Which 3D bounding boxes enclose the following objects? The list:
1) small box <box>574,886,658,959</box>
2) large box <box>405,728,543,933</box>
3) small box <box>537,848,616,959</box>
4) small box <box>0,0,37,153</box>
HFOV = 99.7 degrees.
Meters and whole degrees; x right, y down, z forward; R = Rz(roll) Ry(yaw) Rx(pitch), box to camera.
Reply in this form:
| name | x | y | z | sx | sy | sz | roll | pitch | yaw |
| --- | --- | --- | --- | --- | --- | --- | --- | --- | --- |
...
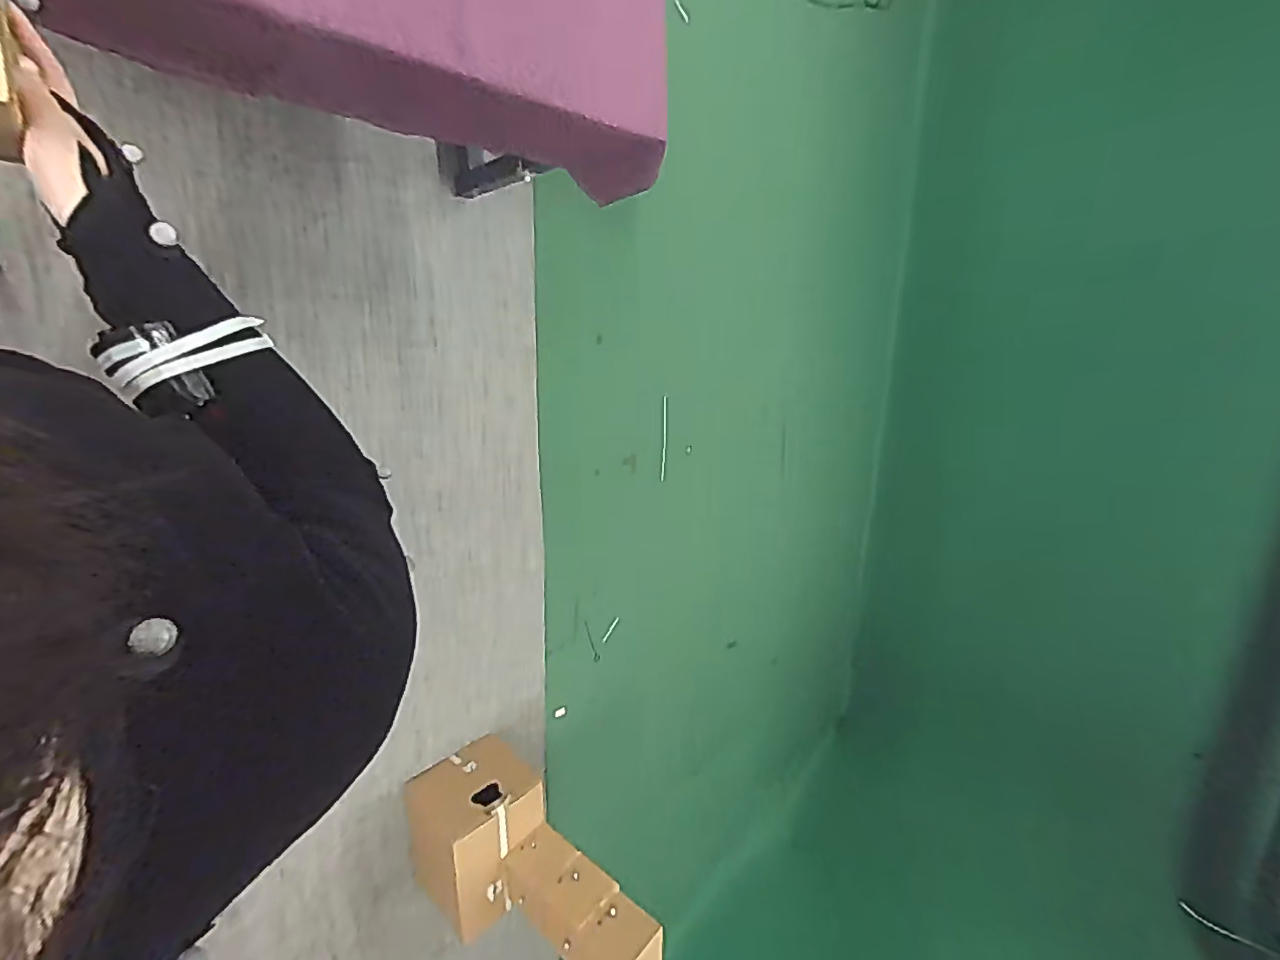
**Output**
| name | x | y | z | sx | sy | sz | roll | pitch | yaw |
| --- | --- | --- | --- | --- | --- | --- | --- | --- | --- |
| small box | -0.068 | 1.279 | 1.482 | 0.168 | 0.176 | 0.179 | -14 | 110 | -48 |
| large box | -0.541 | 1.127 | 1.782 | 0.320 | 0.320 | 0.408 | -15 | 112 | -45 |
| small box | -0.188 | 1.243 | 1.587 | 0.168 | 0.176 | 0.179 | -17 | 112 | -47 |
| small box | -0.443 | -0.298 | 0.273 | 0.168 | 0.176 | 0.179 | -8 | 108 | -43 |
